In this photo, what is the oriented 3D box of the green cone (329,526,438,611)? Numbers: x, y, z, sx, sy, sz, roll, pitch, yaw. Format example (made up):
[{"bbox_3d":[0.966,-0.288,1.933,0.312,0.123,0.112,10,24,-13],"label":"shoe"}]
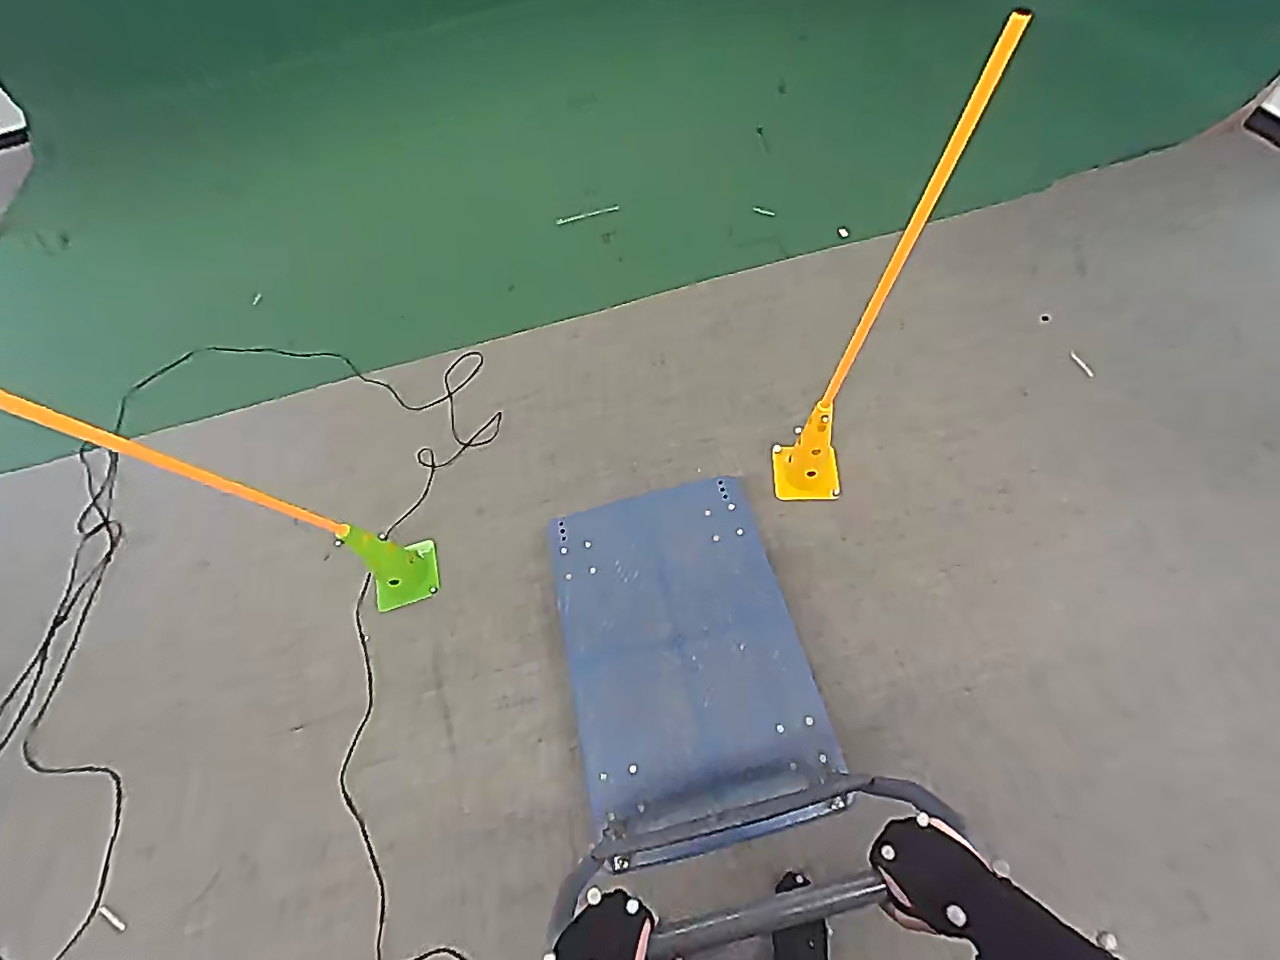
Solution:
[{"bbox_3d":[-0.781,0.221,1.594,0.202,0.368,0.200,-20,59,-2],"label":"green cone"}]
